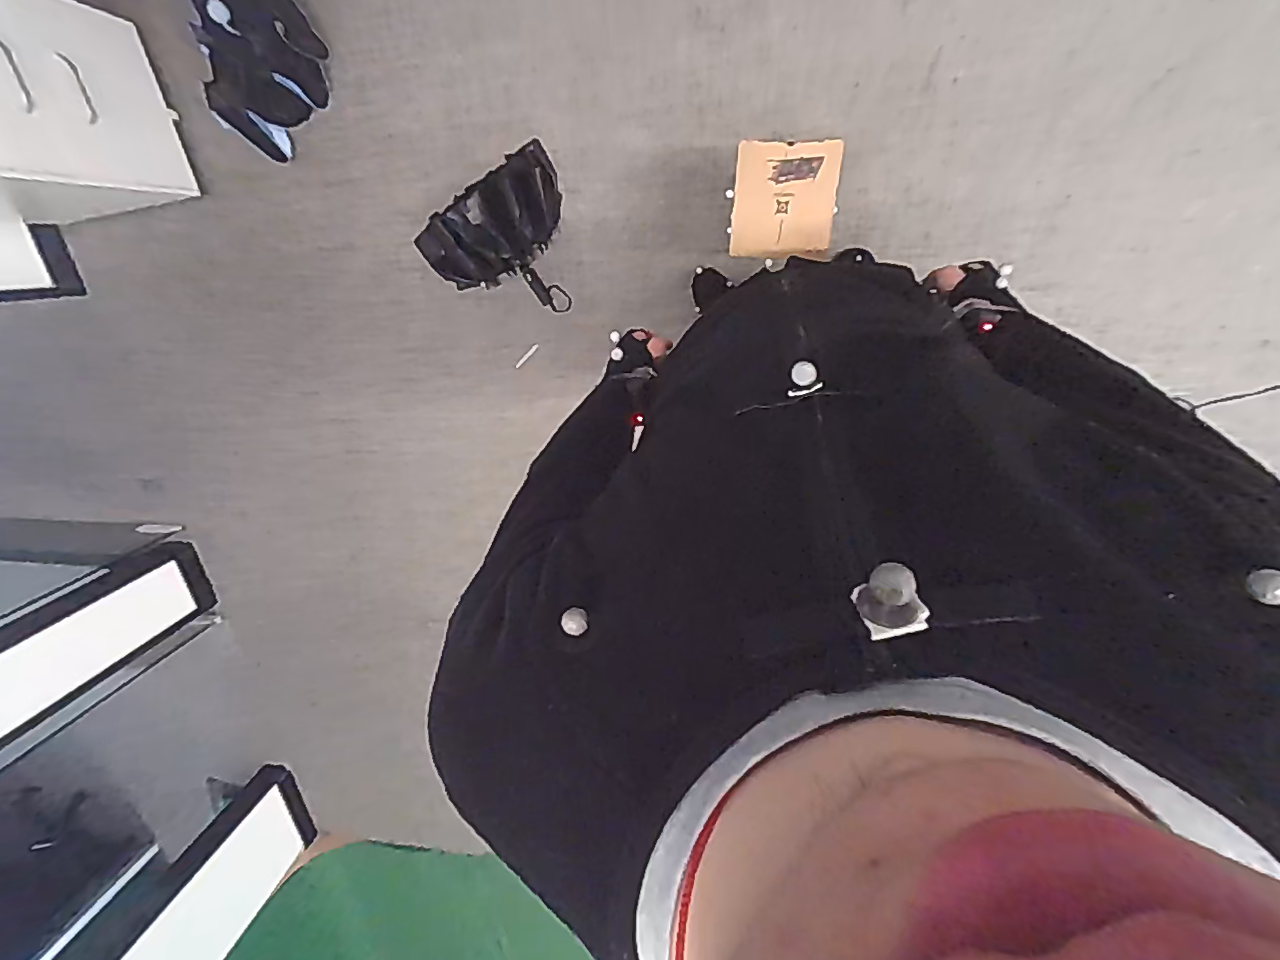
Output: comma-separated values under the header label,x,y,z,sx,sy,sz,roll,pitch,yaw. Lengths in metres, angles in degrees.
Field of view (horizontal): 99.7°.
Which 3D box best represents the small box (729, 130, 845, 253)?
label,x,y,z,sx,sy,sz,roll,pitch,yaw
small box,0.249,-0.503,0.958,0.168,0.176,0.179,6,115,8
